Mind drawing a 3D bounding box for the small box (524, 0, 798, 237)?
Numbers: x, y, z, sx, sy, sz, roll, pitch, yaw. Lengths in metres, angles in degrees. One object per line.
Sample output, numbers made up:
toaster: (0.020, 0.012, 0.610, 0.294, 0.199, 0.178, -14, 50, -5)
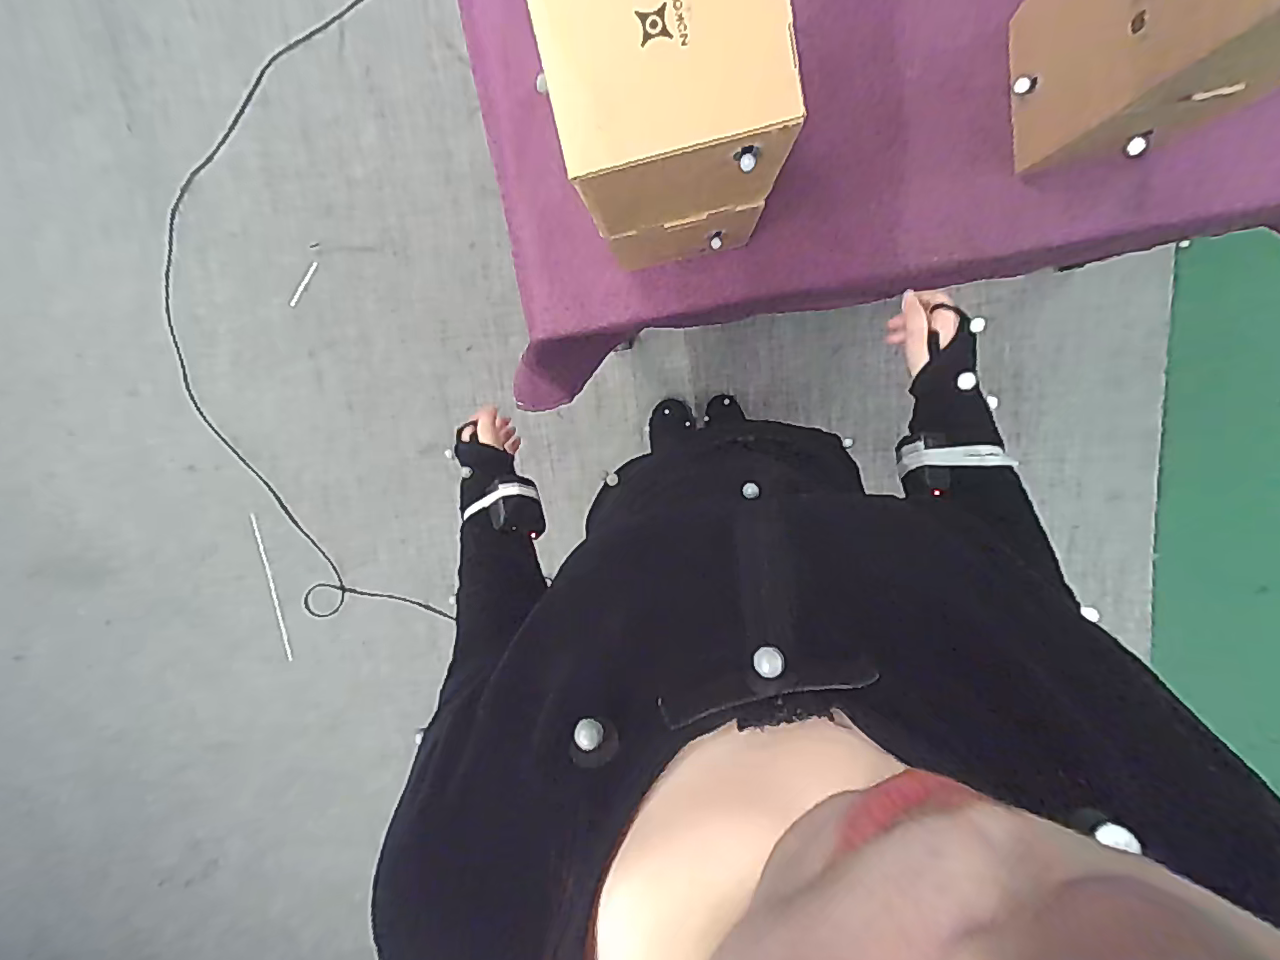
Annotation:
small box: (0.017, -0.326, 0.457, 0.179, 0.176, 0.168, -12, 99, 4)

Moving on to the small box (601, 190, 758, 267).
small box: (0.032, -0.355, 0.616, 0.168, 0.176, 0.179, -10, 99, 5)

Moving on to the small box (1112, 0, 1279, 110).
small box: (0.501, -0.414, 0.404, 0.179, 0.176, 0.168, -9, 100, 6)
